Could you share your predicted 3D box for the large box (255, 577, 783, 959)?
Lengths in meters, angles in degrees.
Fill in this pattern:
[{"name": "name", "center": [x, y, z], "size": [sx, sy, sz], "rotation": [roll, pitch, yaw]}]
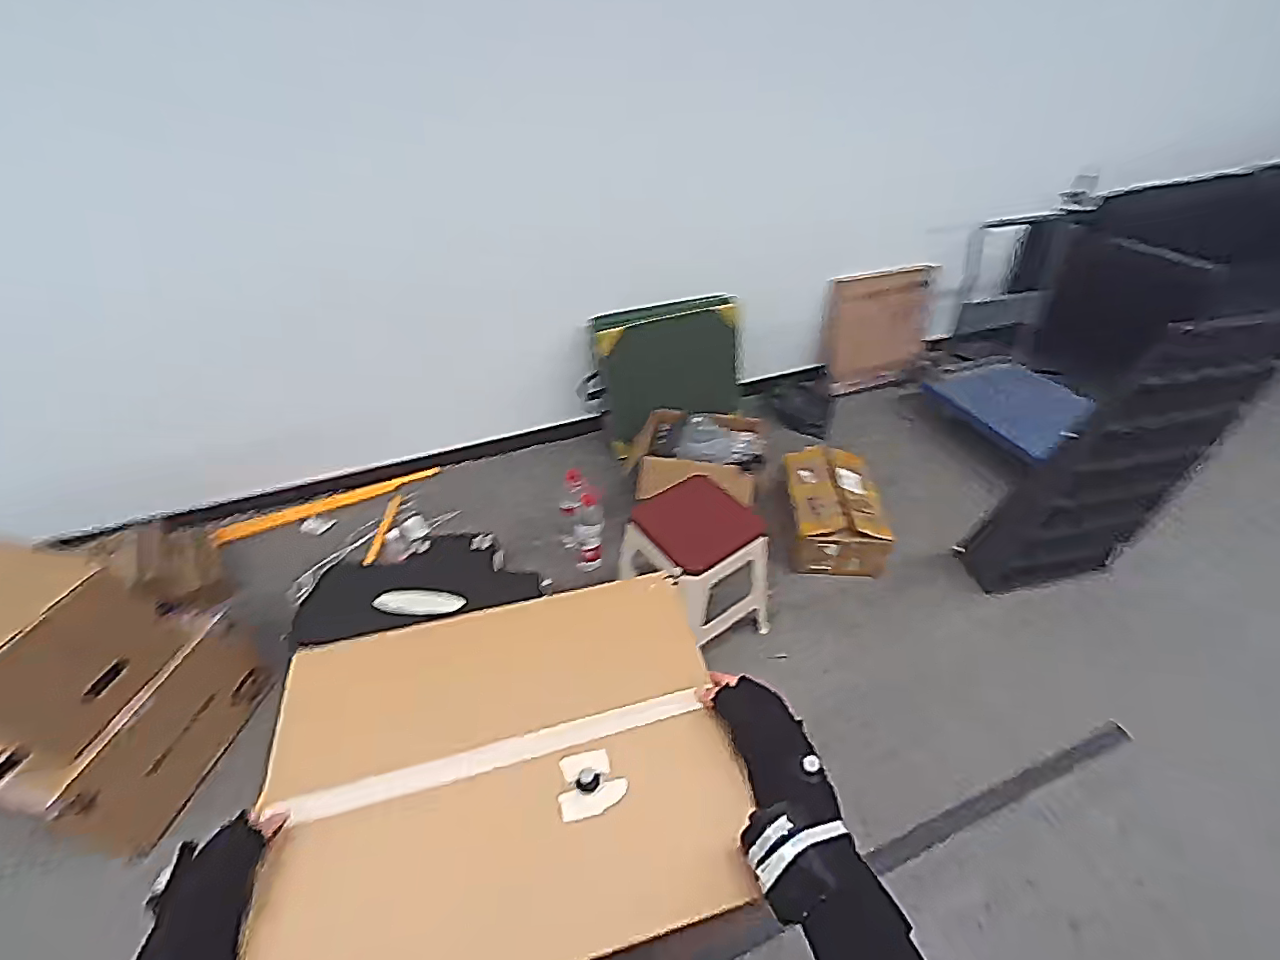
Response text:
[{"name": "large box", "center": [-0.116, 0.359, 0.598], "size": [0.408, 0.320, 0.320], "rotation": [-10, 45, -11]}]
